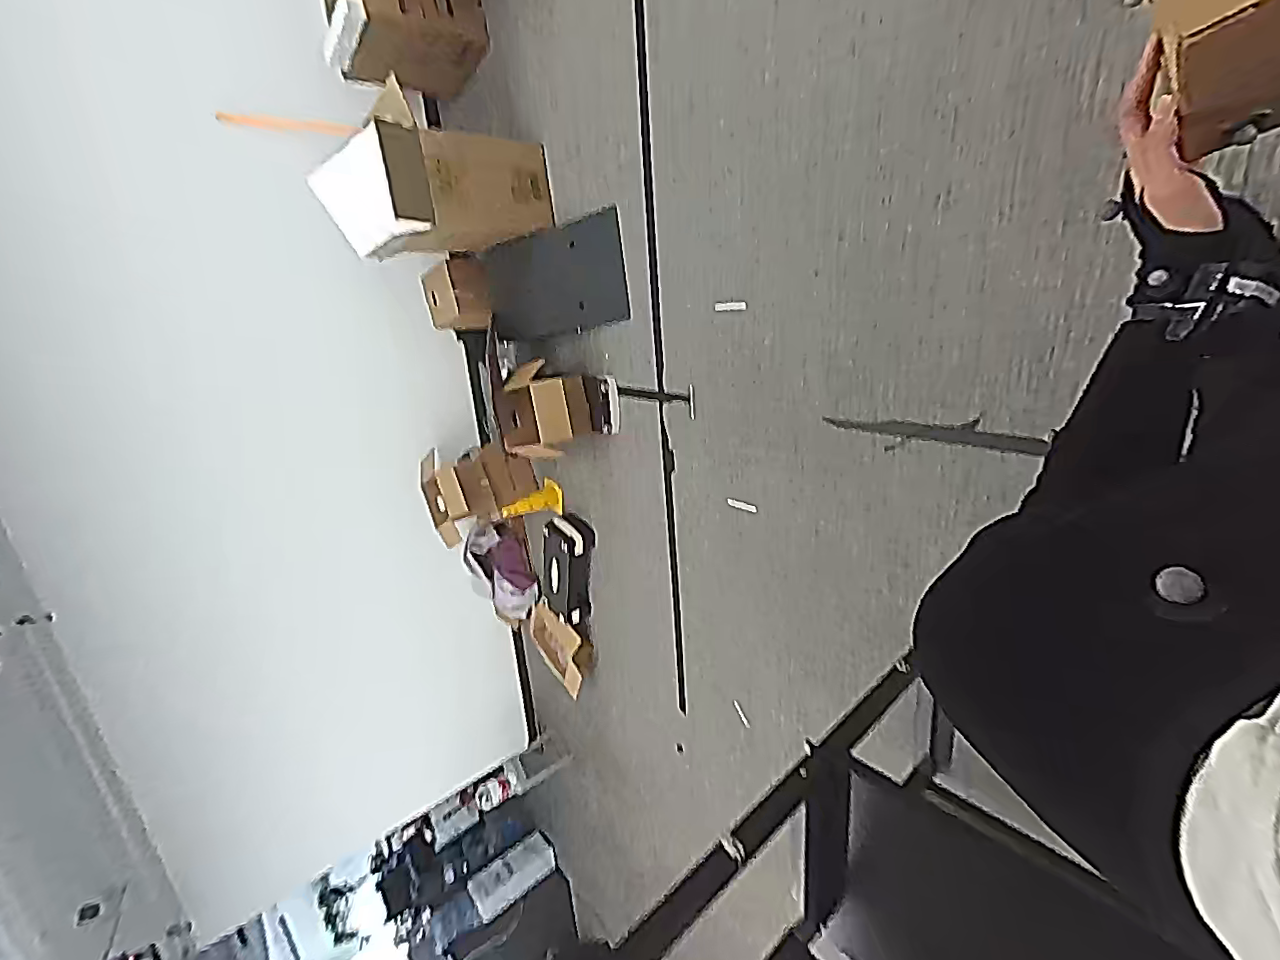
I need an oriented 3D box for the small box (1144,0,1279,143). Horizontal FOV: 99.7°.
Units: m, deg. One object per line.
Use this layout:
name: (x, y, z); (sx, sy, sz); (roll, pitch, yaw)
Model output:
small box: (0.425, -0.347, 0.330); (0.168, 0.176, 0.179); (-10, 80, 45)
